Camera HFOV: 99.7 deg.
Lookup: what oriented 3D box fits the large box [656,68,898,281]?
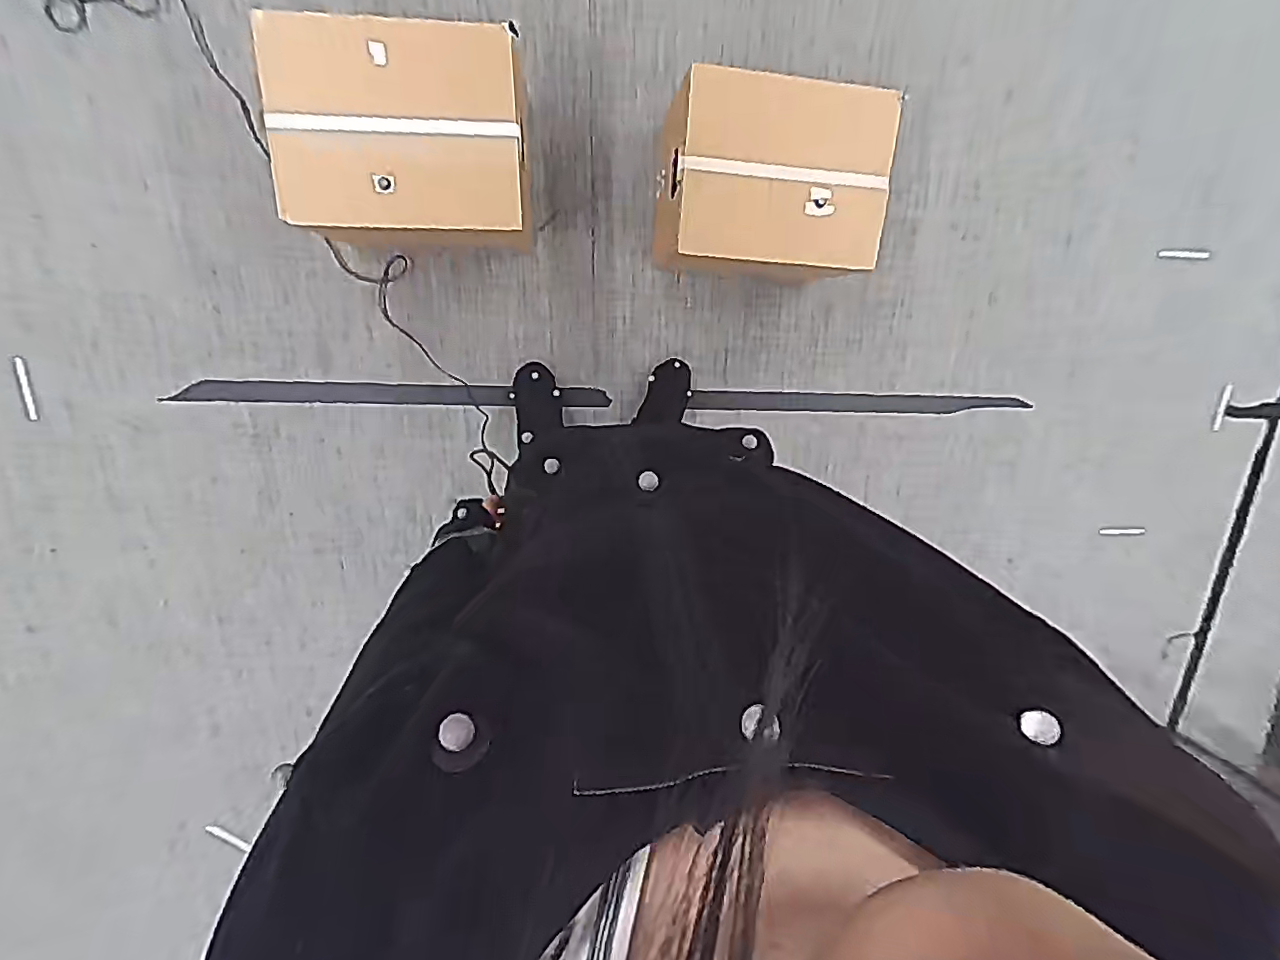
[{"bbox_3d":[0.258,-0.615,1.160,0.408,0.320,0.320,2,105,-9],"label":"large box"}]
